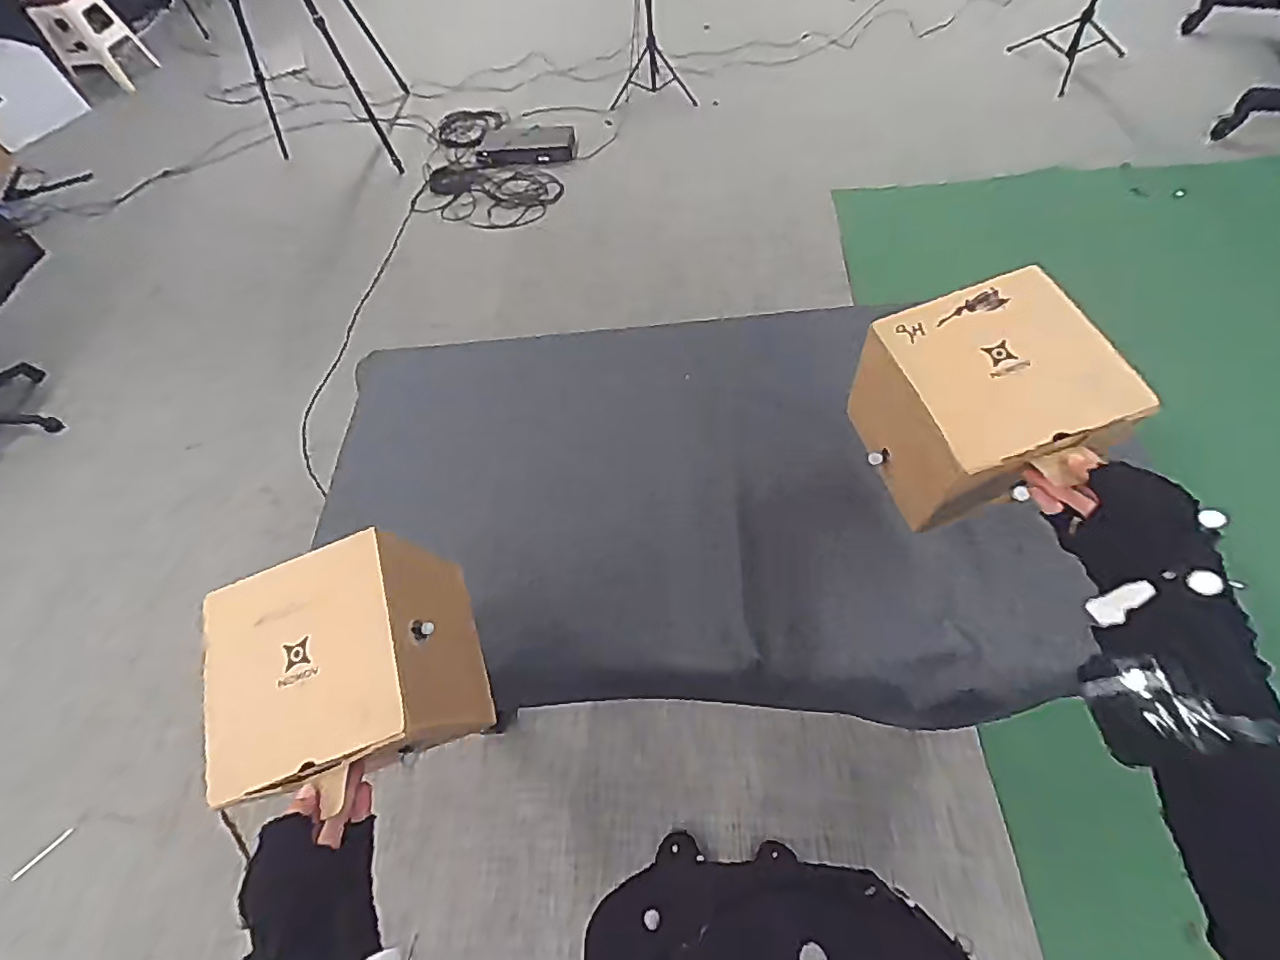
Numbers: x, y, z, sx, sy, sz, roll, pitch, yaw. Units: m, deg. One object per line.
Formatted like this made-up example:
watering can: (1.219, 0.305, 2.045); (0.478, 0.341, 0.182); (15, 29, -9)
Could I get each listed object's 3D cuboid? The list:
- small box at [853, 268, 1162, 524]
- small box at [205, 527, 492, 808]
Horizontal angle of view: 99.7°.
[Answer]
small box: (0.338, -0.068, 0.547); (0.168, 0.176, 0.179); (-19, 65, 3)
small box: (-0.259, 0.170, 0.507); (0.168, 0.176, 0.179); (-22, 66, 0)
